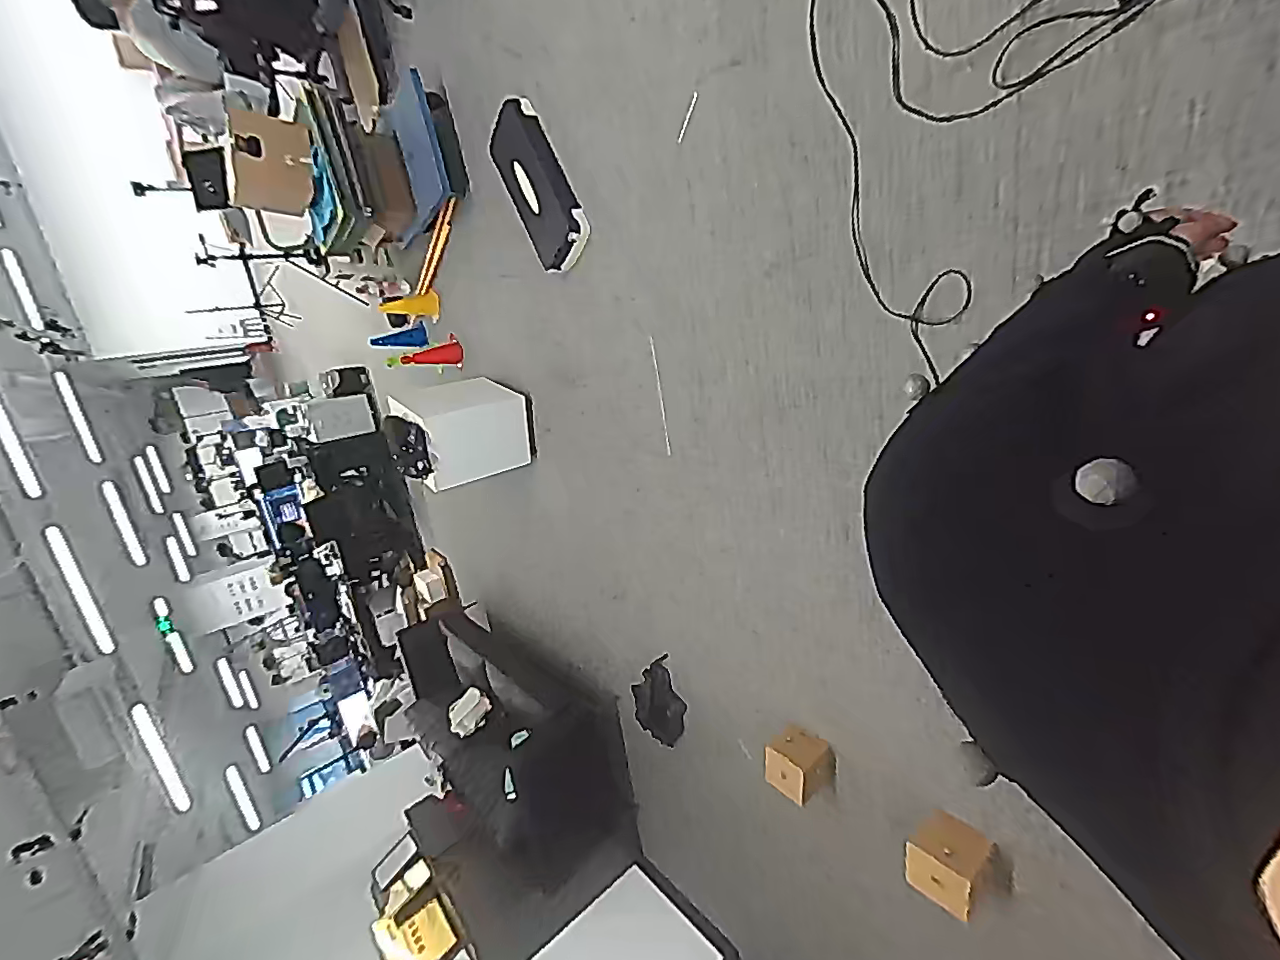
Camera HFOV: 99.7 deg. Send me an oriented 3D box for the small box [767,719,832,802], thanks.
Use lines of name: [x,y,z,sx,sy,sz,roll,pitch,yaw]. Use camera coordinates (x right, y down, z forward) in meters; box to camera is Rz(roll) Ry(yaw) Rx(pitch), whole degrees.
small box: [0.591,1.028,2.000,0.168,0.176,0.179,20,123,49]

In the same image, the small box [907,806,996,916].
small box: [0.921,1.114,1.603,0.179,0.176,0.168,14,117,49]
